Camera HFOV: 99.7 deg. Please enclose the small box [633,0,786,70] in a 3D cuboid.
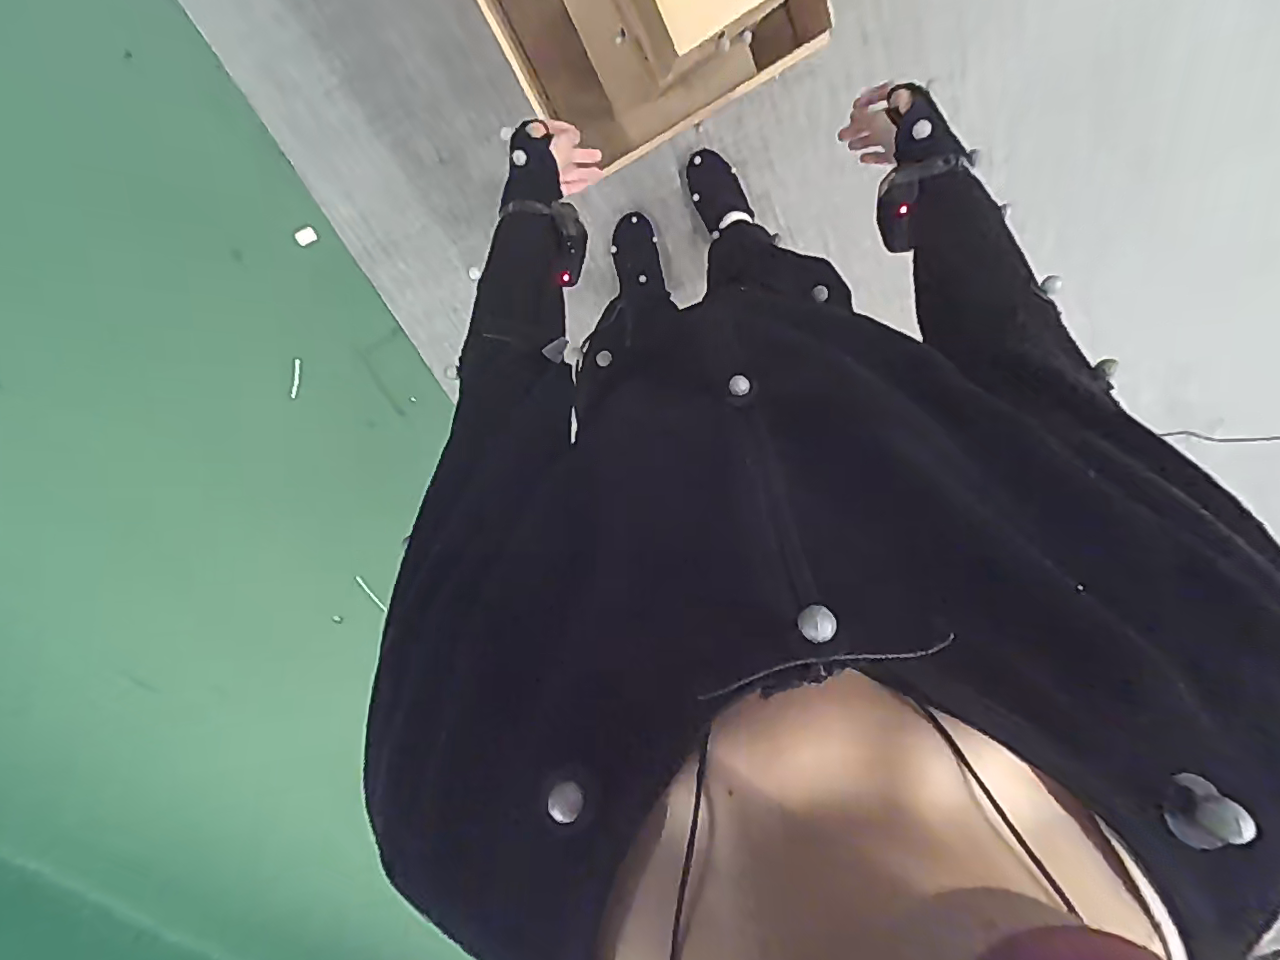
[{"bbox_3d":[0.068,-0.571,0.568,0.168,0.176,0.179,-26,117,12],"label":"small box"}]
